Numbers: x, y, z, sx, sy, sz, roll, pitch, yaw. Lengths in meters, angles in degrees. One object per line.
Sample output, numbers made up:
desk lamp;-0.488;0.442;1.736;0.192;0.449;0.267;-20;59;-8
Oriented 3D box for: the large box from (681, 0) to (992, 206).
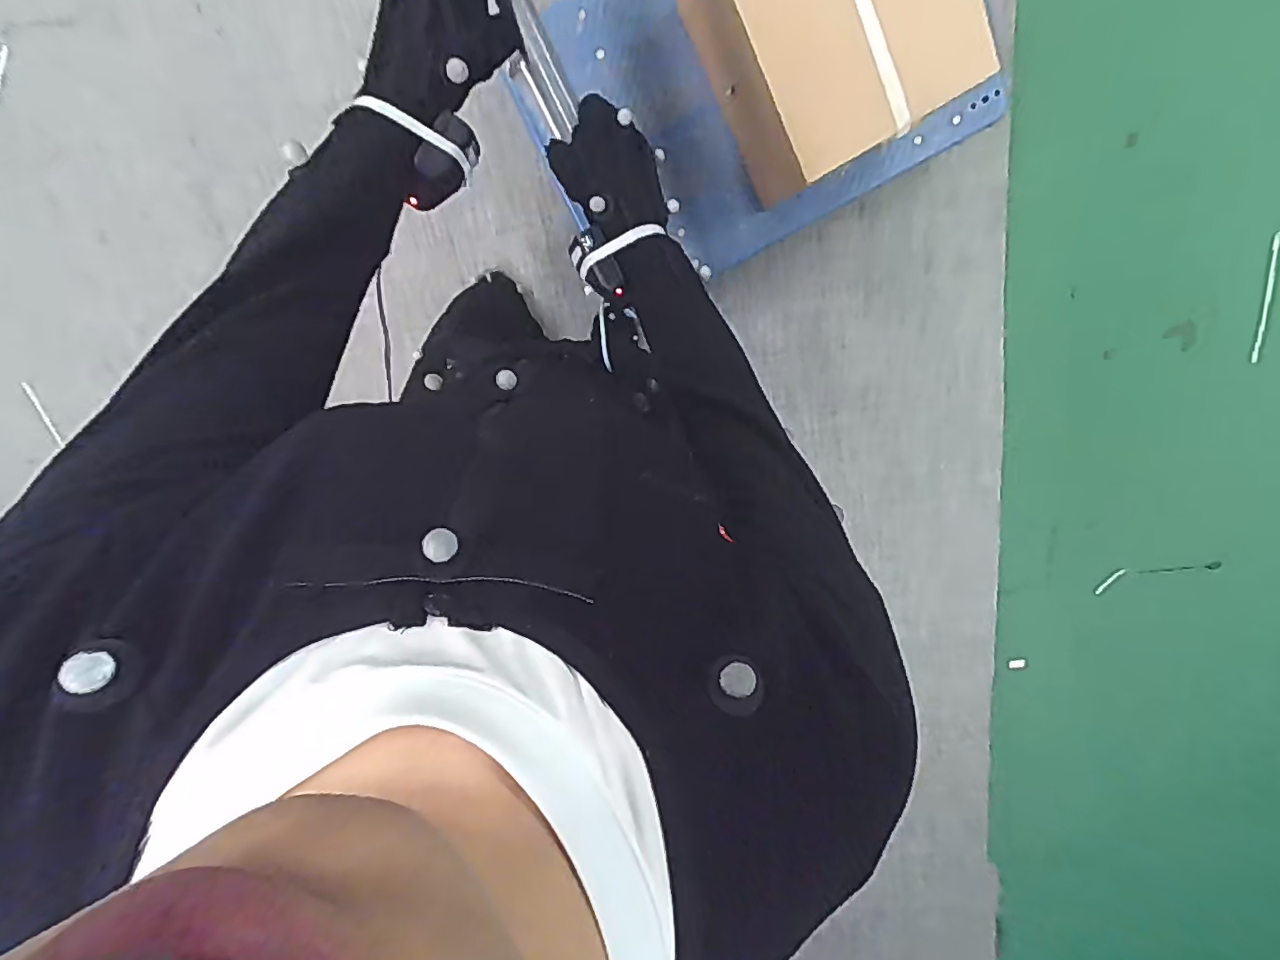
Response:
large box;0.300;-0.753;0.915;0.320;0.320;0.408;-27;107;8
